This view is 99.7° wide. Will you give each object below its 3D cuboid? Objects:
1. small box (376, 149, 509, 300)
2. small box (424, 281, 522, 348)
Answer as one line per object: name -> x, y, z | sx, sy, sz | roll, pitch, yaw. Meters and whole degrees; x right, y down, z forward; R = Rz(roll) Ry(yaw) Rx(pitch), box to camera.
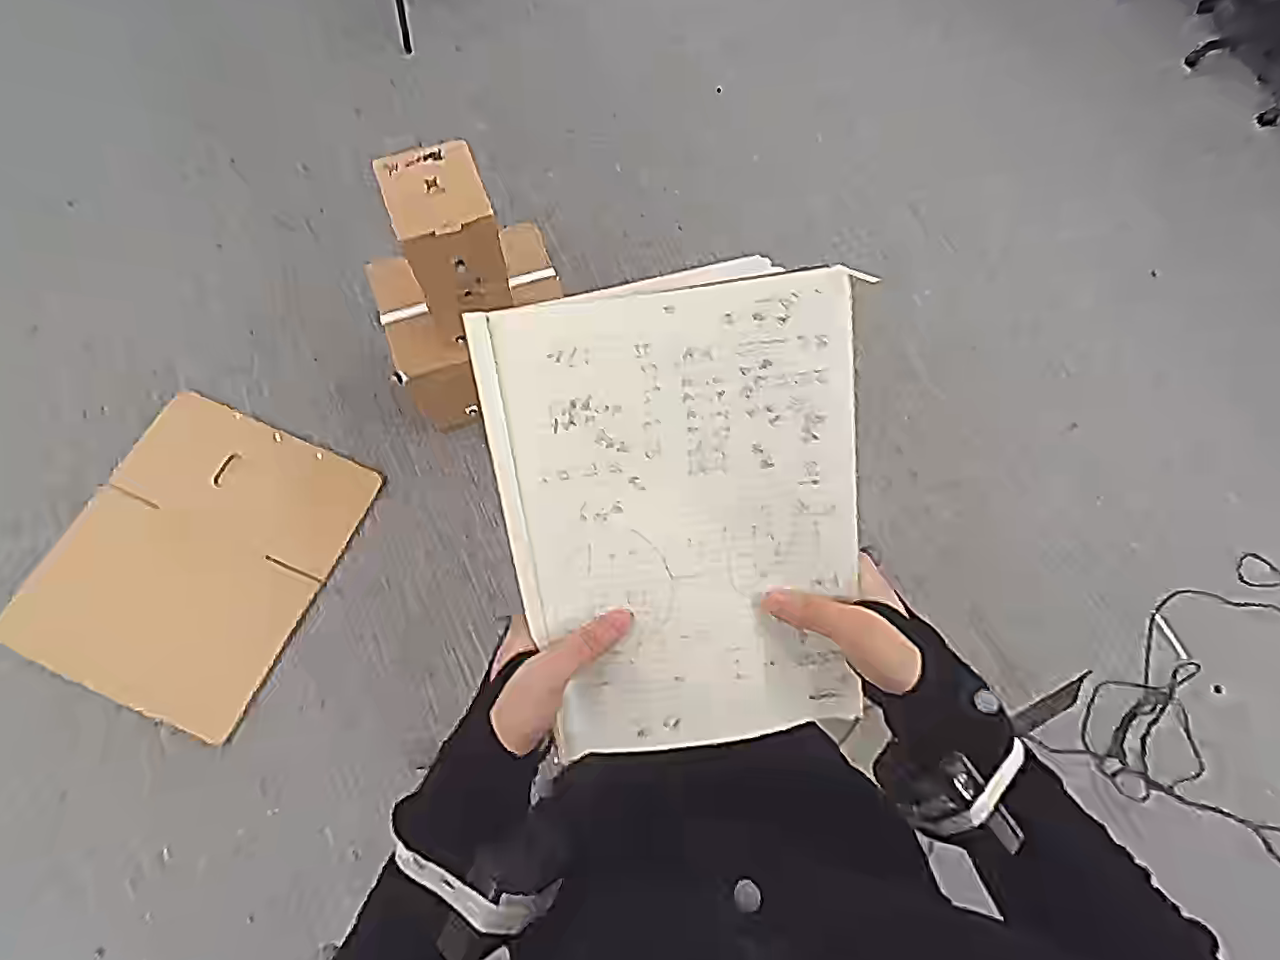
small box -> -0.352, -0.457, 0.996 | 0.168, 0.176, 0.179 | -20, 77, -10
small box -> -0.360, -0.401, 1.151 | 0.168, 0.176, 0.179 | -17, 75, -9
